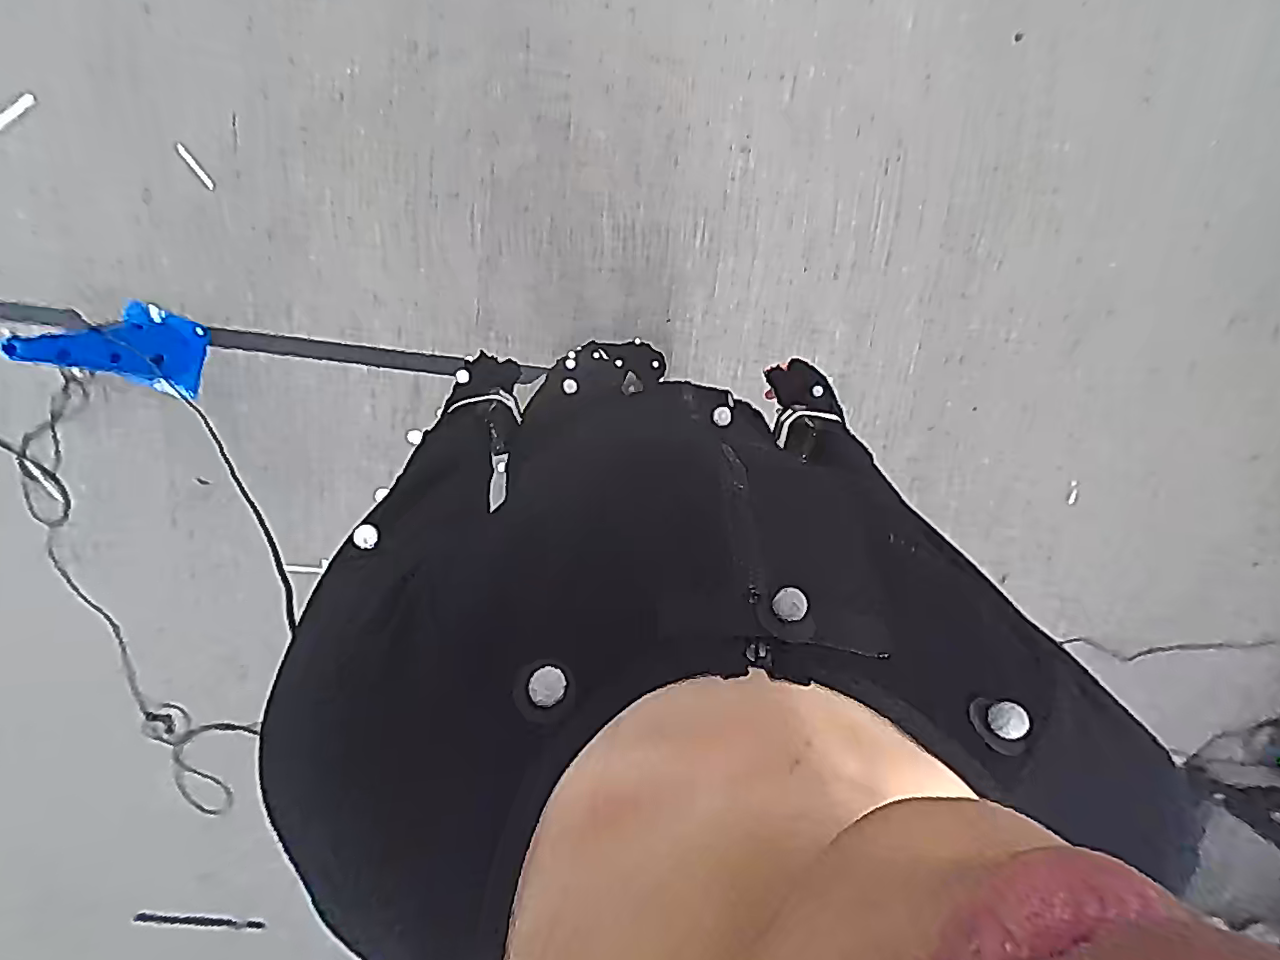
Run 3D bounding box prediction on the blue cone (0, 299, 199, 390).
[{"bbox_3d":[-1.193,-0.297,1.176,0.193,0.380,0.192,22,99,-8],"label":"blue cone"}]
